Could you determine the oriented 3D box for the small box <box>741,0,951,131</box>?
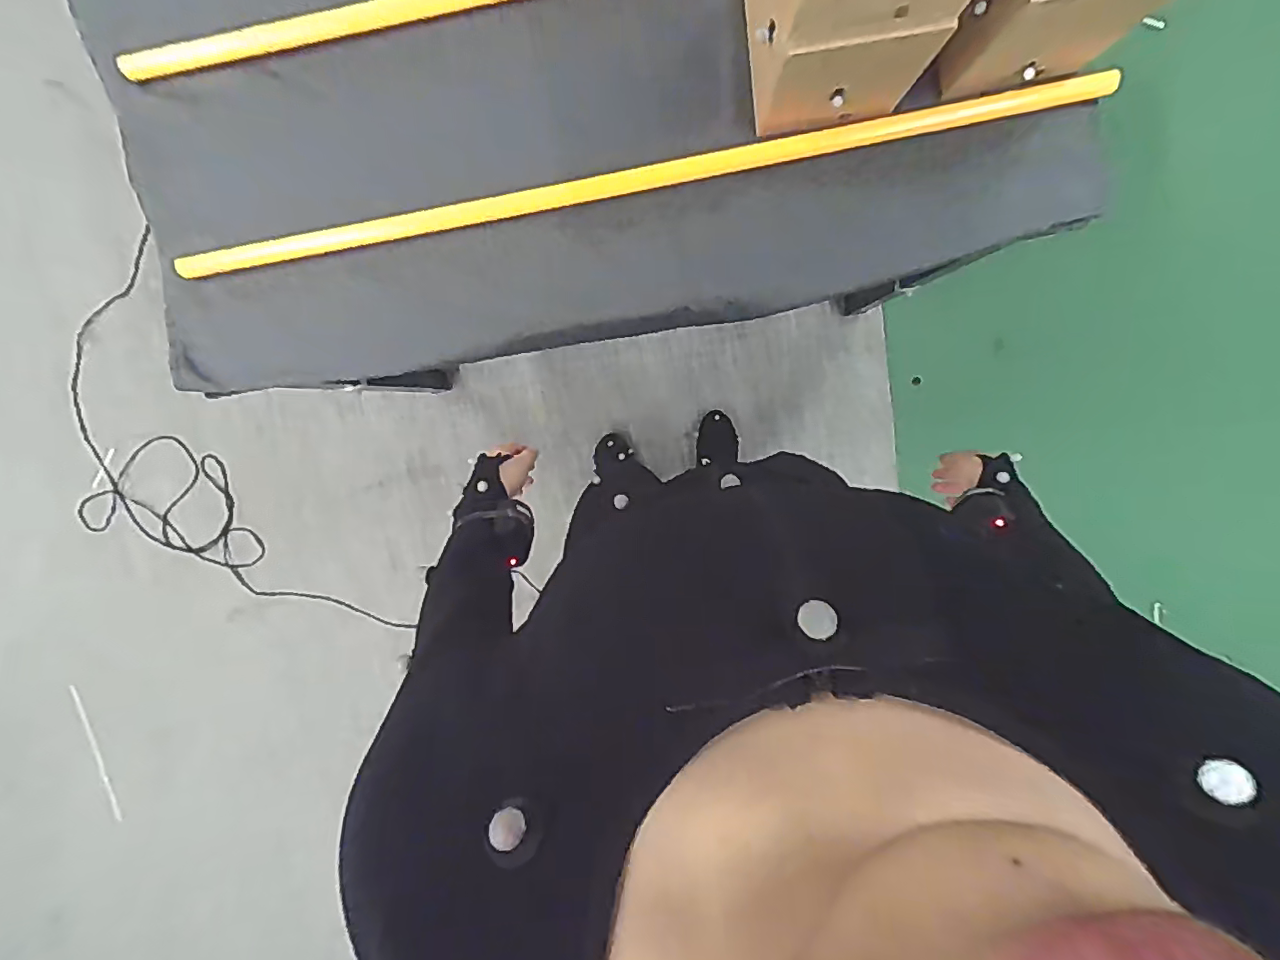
[{"bbox_3d":[0.210,-0.511,0.588,0.168,0.176,0.179,-7,97,3],"label":"small box"}]

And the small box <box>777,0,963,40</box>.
[{"bbox_3d":[0.201,-0.492,0.426,0.168,0.176,0.179,-7,97,4],"label":"small box"}]
